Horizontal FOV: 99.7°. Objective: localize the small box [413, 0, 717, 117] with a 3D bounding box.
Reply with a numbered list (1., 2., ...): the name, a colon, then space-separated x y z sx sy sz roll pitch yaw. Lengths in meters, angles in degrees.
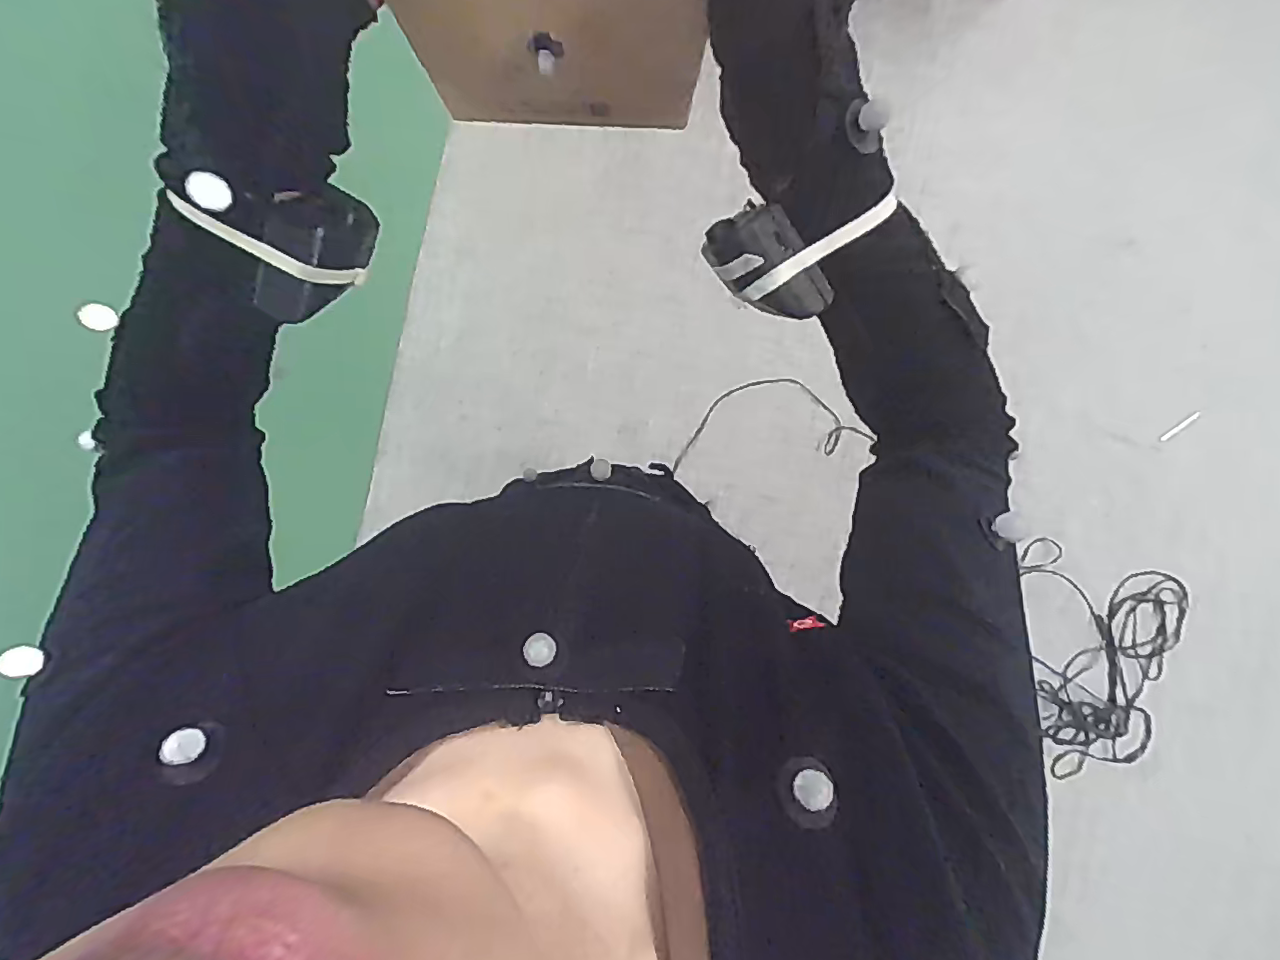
1. small box: -0.037 -0.331 0.291 0.168 0.176 0.179 1 95 -2
